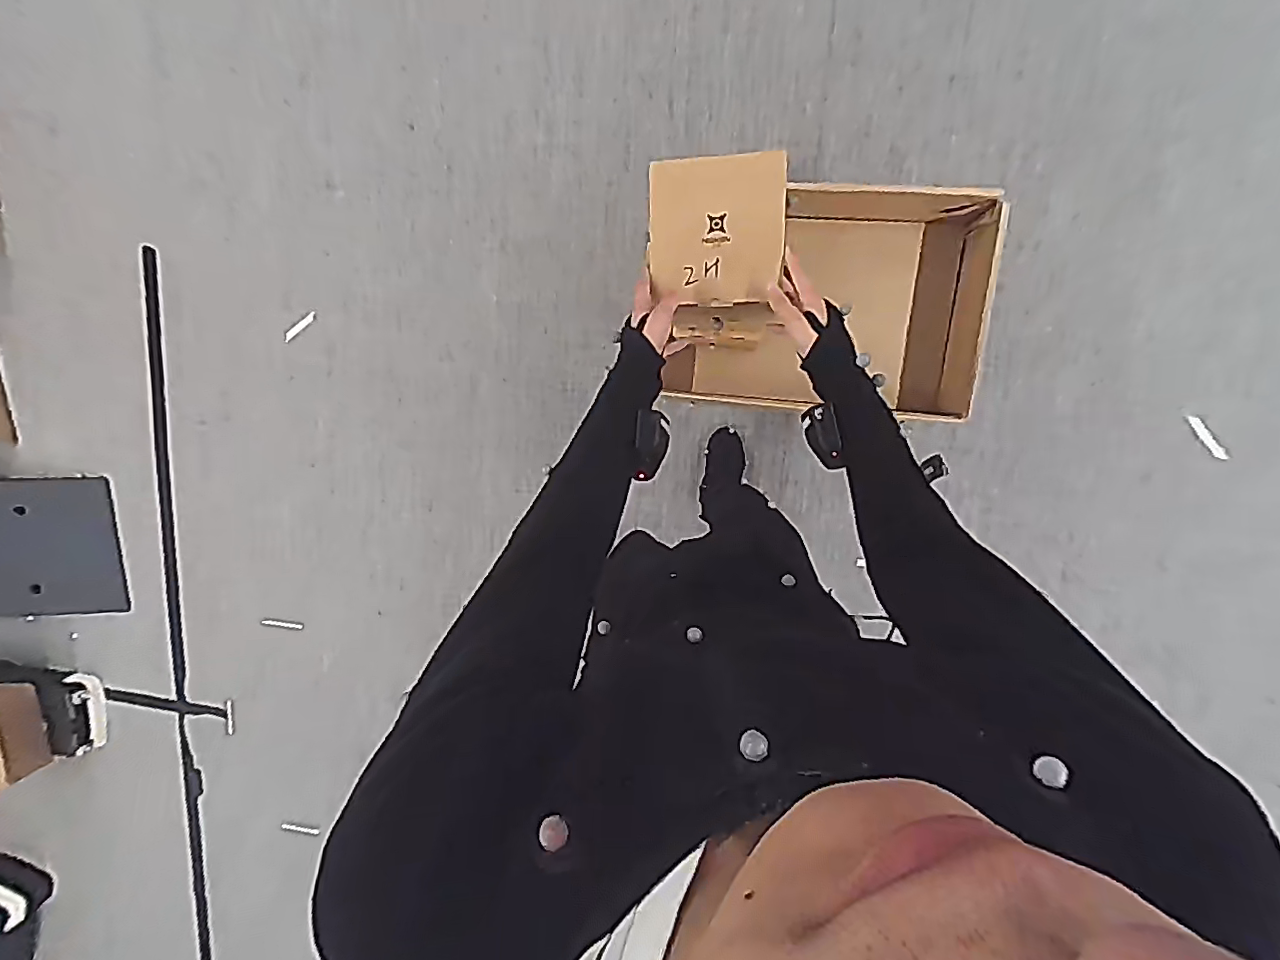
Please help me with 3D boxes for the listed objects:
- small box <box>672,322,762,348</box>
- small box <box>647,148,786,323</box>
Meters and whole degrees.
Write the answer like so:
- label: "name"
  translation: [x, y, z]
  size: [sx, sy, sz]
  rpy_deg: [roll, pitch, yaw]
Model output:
- label: "small box"
  translation: [0.158, -0.359, 1.057]
  size: [0.168, 0.176, 0.179]
  rpy_deg: [5, 100, 9]
- label: "small box"
  translation: [0.103, -0.316, 0.733]
  size: [0.168, 0.176, 0.179]
  rpy_deg: [1, 99, 11]
